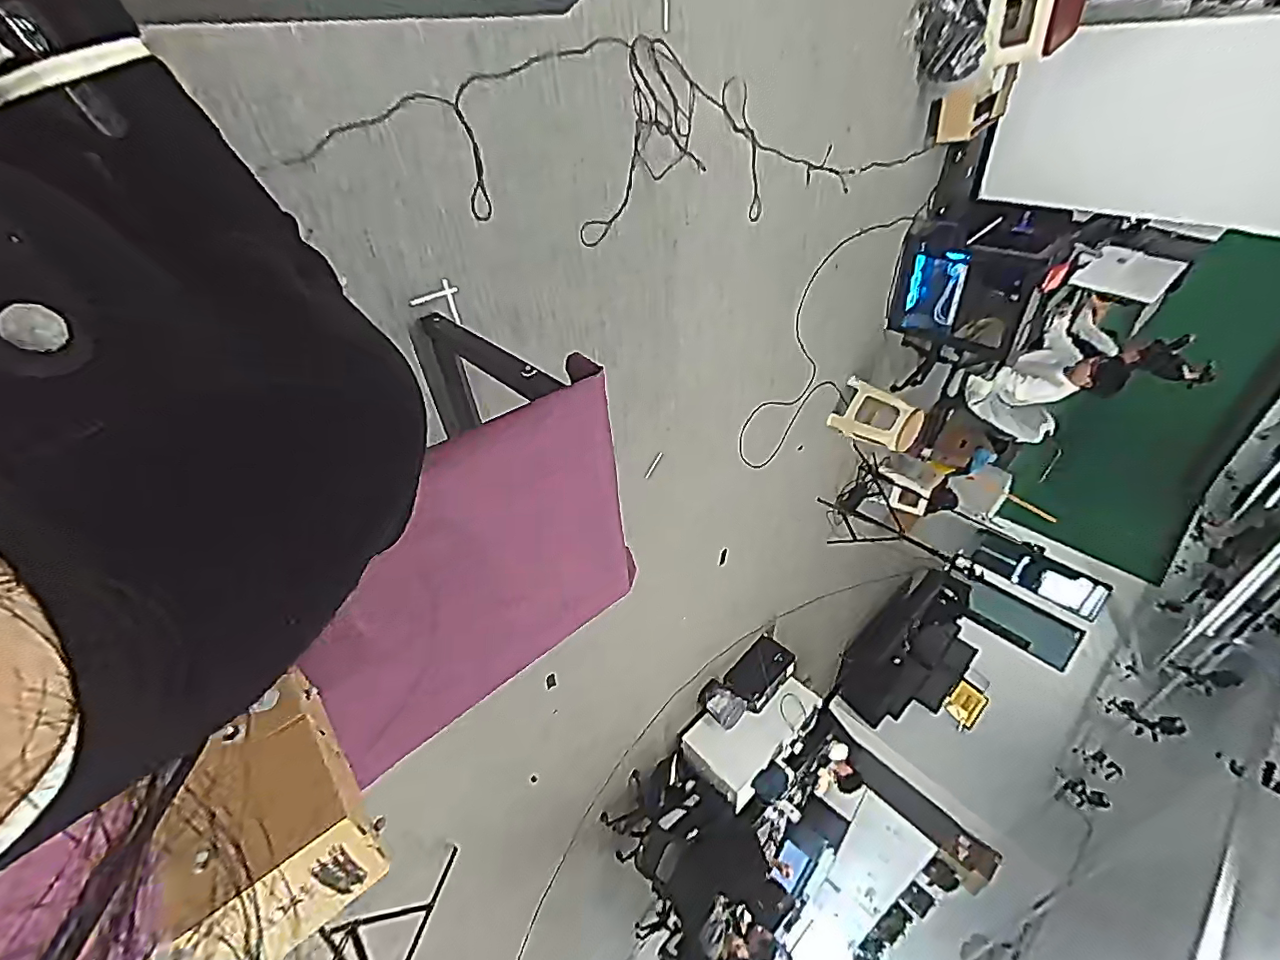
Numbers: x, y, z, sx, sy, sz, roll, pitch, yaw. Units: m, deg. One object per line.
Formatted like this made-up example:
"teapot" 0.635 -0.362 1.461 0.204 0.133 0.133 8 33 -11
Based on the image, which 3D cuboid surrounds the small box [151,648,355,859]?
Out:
"small box" -0.553 0.381 0.779 0.179 0.176 0.168 -30 134 -30
